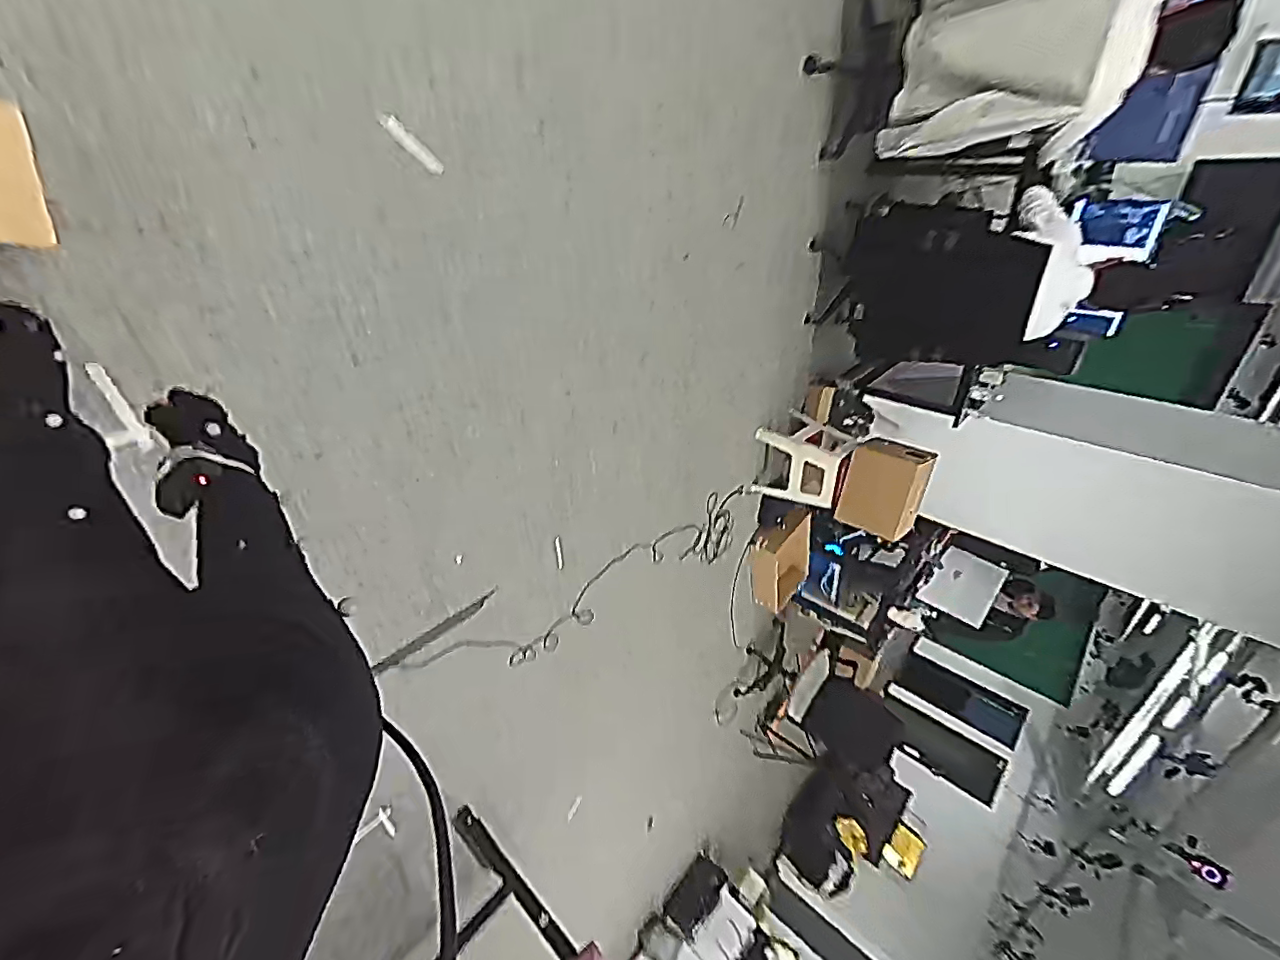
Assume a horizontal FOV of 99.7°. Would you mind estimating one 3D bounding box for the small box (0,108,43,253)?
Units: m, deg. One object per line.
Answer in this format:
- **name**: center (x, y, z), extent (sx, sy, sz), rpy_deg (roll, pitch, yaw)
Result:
- **small box**: center (-0.938, -0.413, 0.719), extent (0.168, 0.176, 0.179), rpy_deg (-17, 123, -47)
